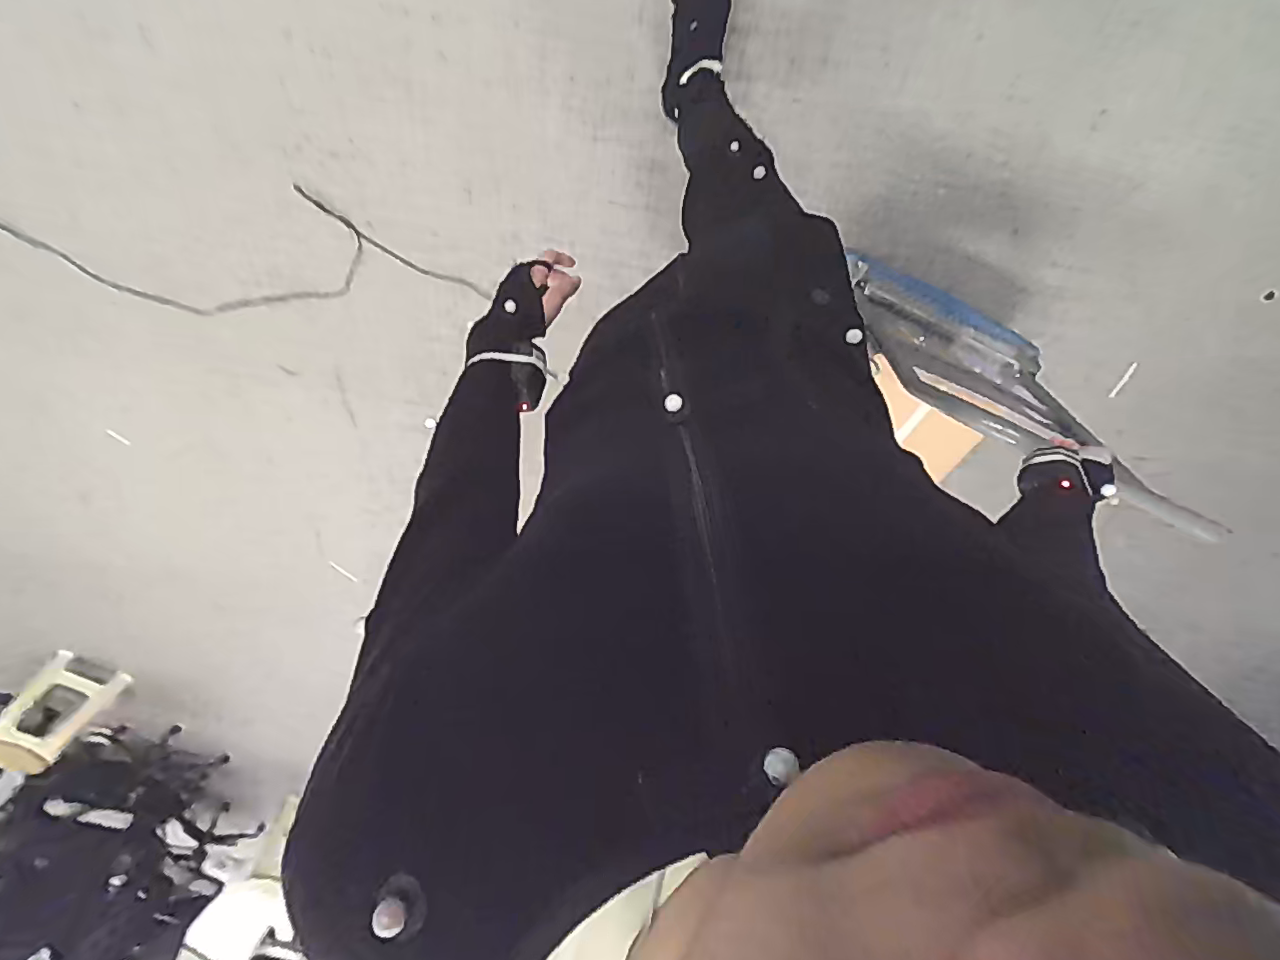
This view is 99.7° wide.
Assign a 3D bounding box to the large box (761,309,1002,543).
[{"bbox_3d":[0.533,-0.128,1.293,0.320,0.320,0.408,21,126,-9],"label":"large box"}]
